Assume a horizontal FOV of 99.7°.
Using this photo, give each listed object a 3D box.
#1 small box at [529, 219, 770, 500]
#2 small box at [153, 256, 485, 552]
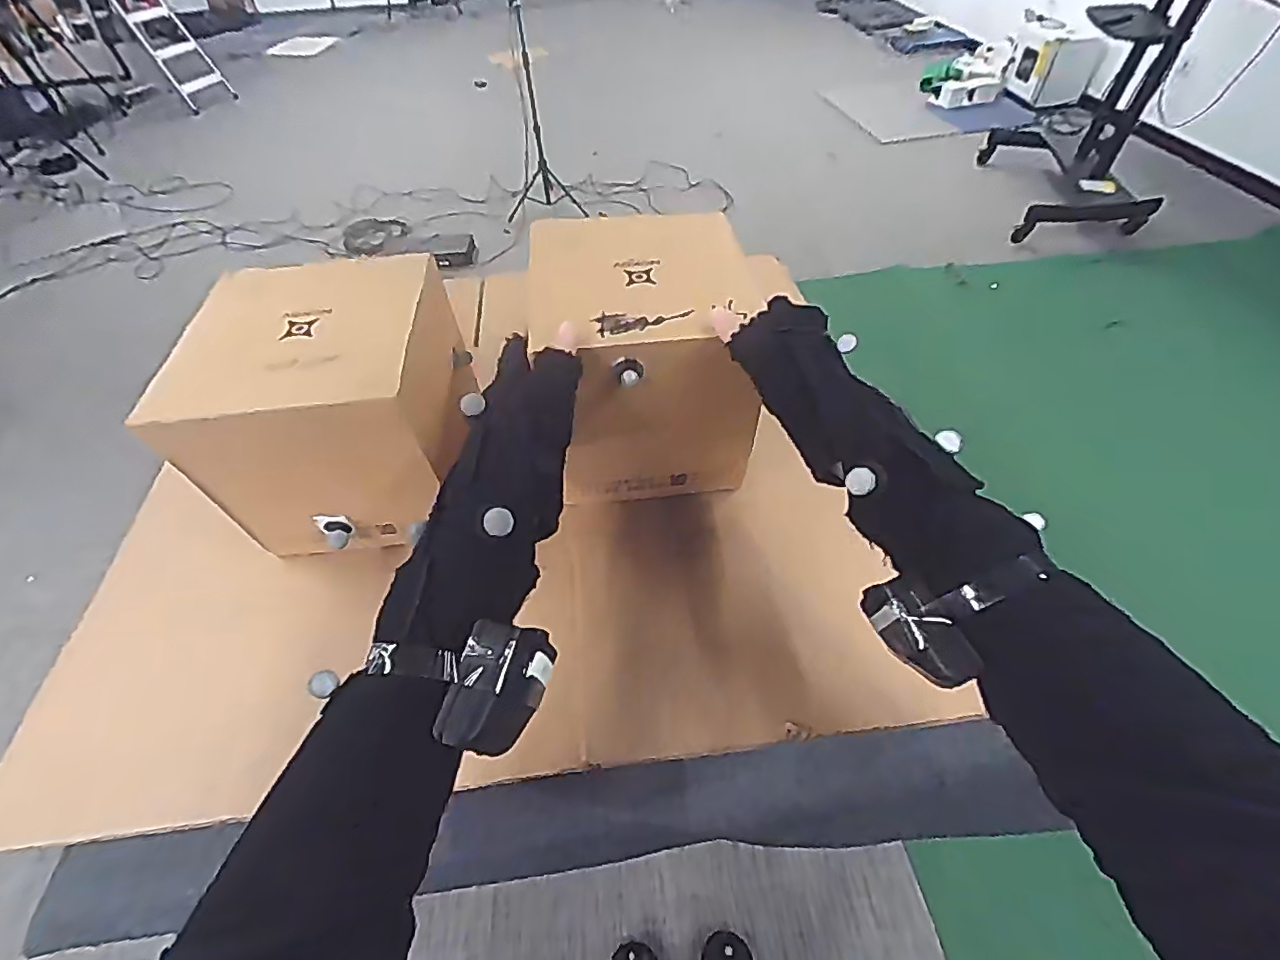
[{"bbox_3d":[0.001,-0.104,0.474,0.168,0.176,0.179,-5,51,-3],"label":"small box"},{"bbox_3d":[-0.236,-0.061,0.460,0.168,0.176,0.179,-7,53,-2],"label":"small box"}]
